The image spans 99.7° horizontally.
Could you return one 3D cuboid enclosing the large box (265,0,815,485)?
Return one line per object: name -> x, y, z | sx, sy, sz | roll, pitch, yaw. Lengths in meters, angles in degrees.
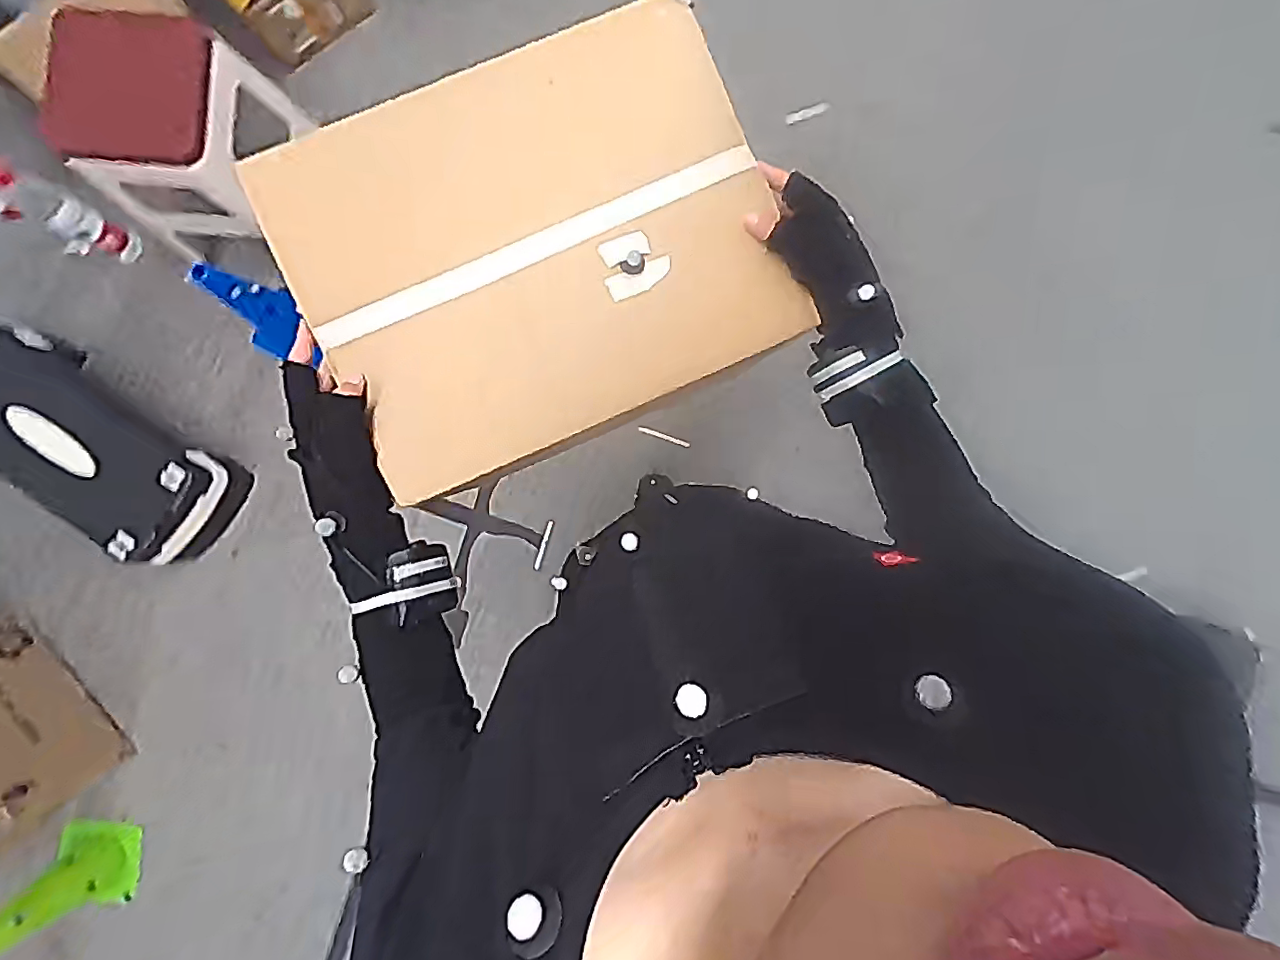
large box -> -0.090, -0.217, 0.621 | 0.408, 0.320, 0.320 | -24, 95, -3
